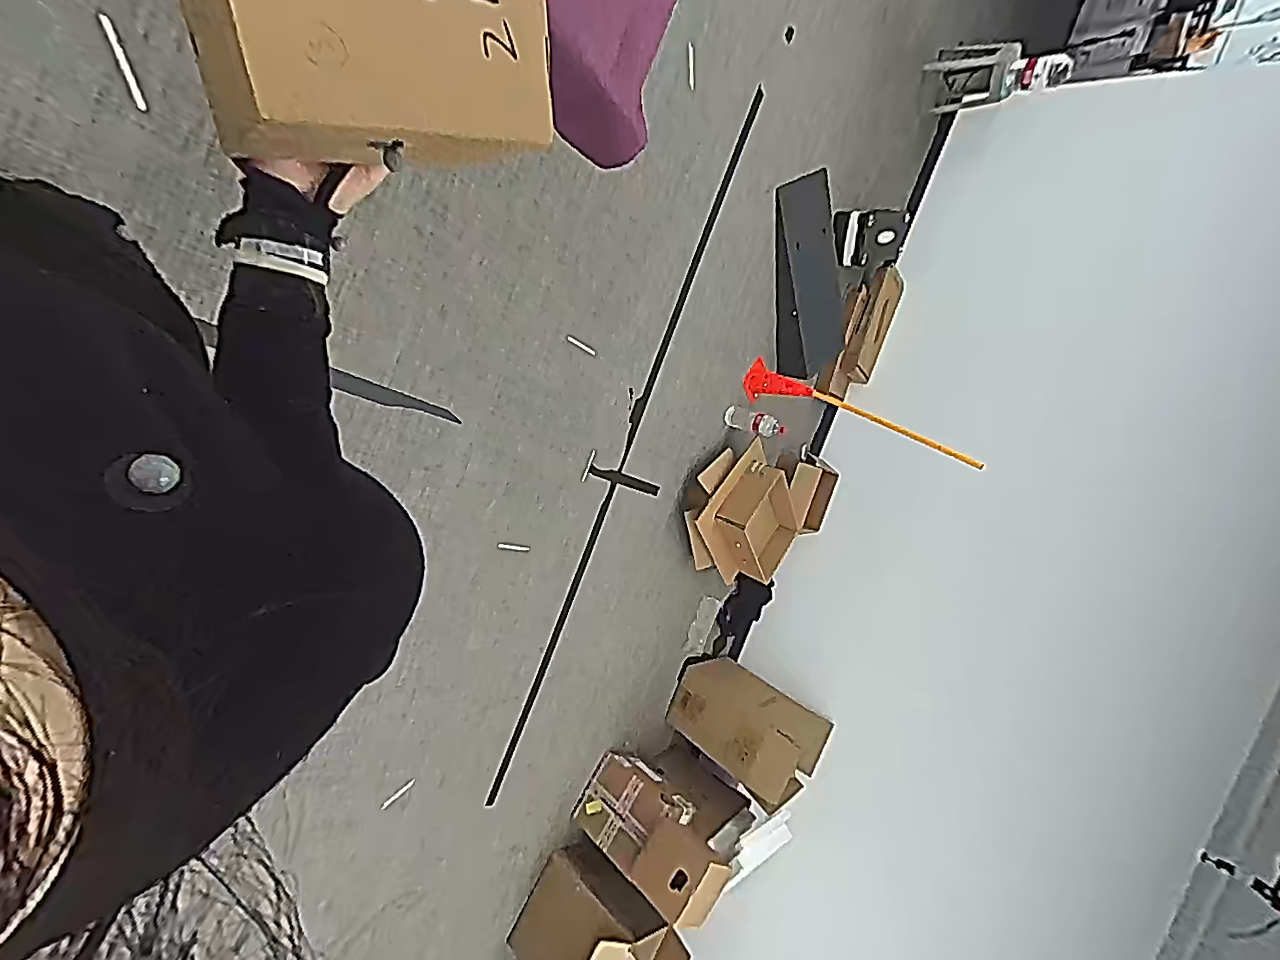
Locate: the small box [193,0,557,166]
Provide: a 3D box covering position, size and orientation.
[{"bbox_3d":[-0.177,-0.305,0.348,0.179,0.176,0.168,-22,122,-36],"label":"small box"}]
